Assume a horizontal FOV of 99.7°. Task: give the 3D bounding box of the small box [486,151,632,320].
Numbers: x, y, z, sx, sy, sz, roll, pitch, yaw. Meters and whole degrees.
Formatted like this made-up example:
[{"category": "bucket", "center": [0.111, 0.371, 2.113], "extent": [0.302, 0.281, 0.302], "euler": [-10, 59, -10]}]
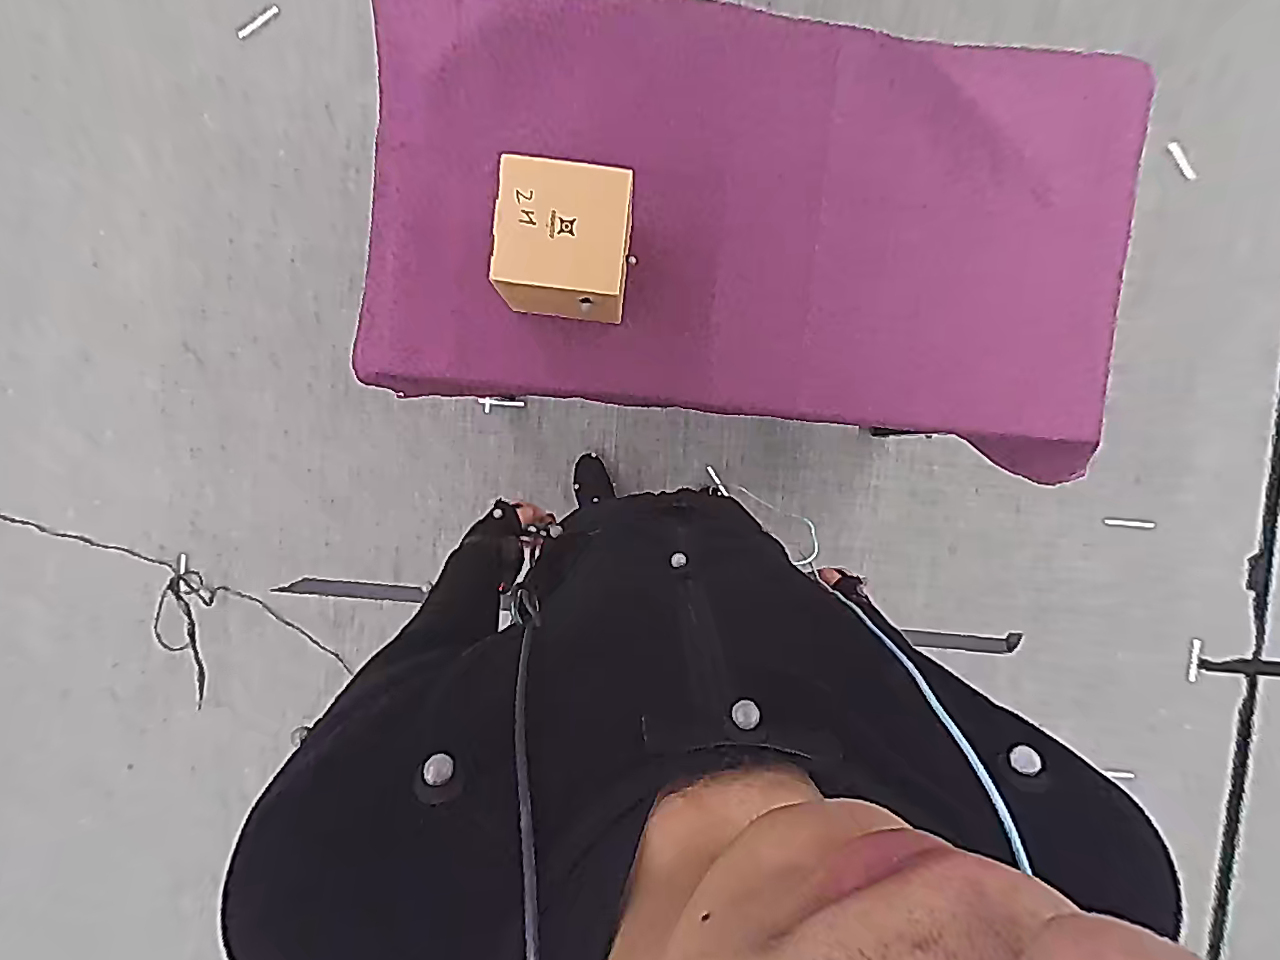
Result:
[{"category": "small box", "center": [-0.109, -0.339, 0.786], "extent": [0.179, 0.176, 0.168], "euler": [7, 93, -2]}]
